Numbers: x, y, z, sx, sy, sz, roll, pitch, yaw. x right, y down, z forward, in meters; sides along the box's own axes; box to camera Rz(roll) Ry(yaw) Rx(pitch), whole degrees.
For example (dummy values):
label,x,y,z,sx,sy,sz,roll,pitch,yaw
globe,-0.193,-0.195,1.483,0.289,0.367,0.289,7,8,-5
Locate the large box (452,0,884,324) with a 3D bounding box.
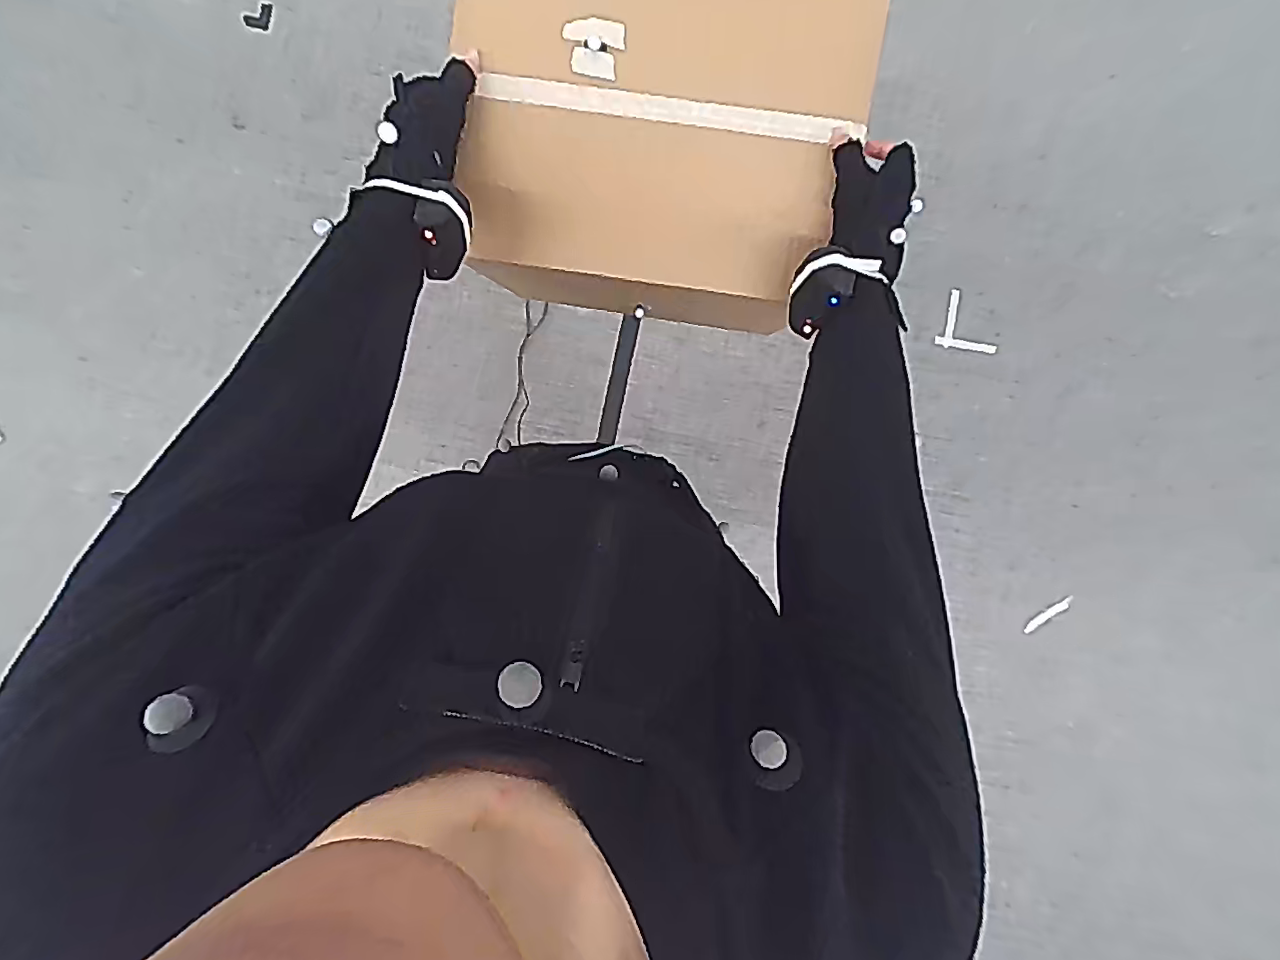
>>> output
label,x,y,z,sx,sy,sz,roll,pitch,yaw
large box,0.027,-0.387,0.679,0.408,0.320,0.320,9,100,1
